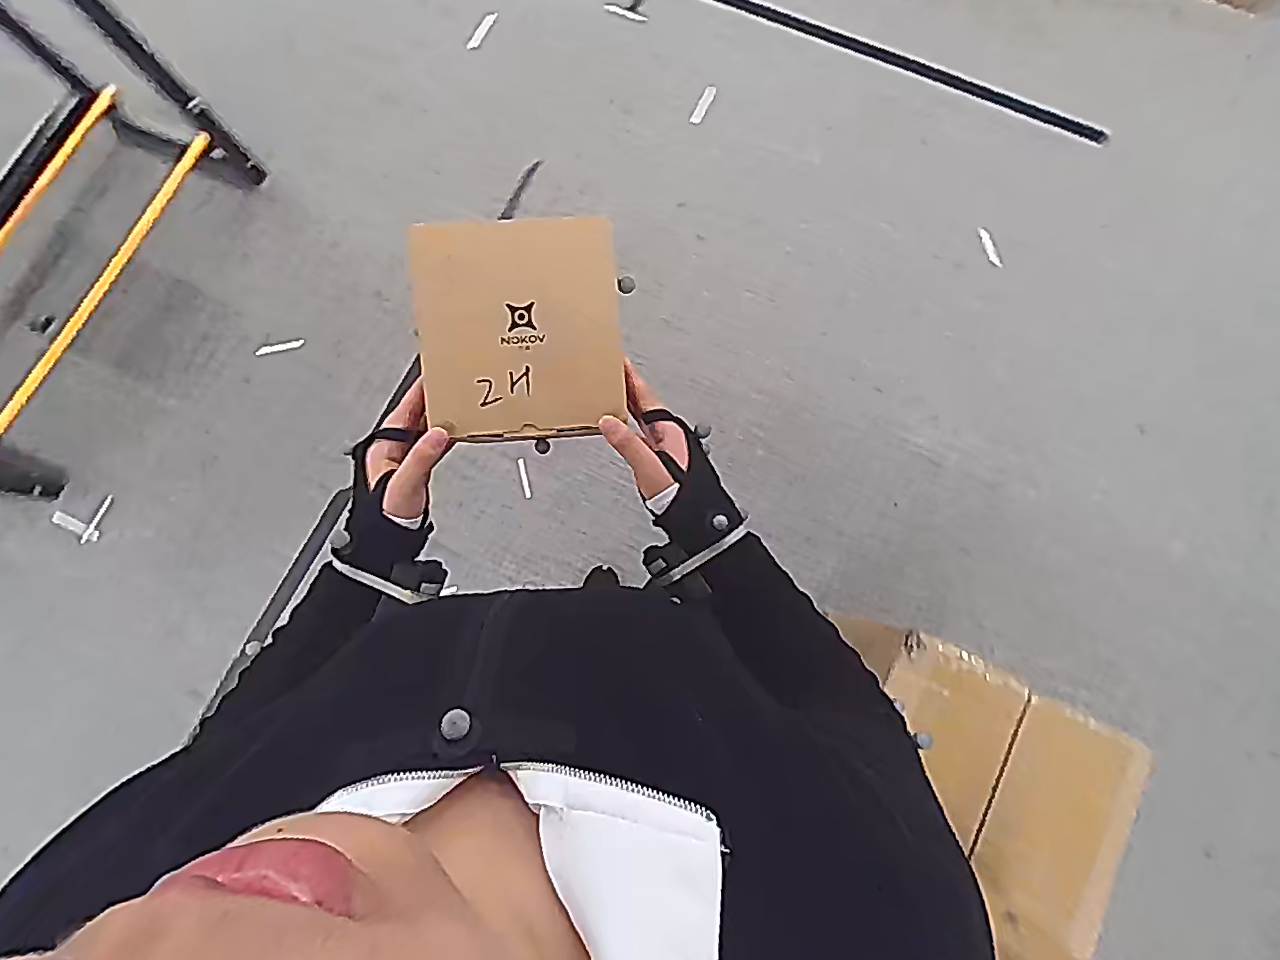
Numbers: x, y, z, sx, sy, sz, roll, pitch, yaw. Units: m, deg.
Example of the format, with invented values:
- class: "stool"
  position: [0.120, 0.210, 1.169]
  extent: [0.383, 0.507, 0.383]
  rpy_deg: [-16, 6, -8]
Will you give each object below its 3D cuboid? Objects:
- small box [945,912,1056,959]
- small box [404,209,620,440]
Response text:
- class: "small box"
  position: [0.419, 0.604, 0.551]
  extent: [0.168, 0.176, 0.179]
  rpy_deg: [26, 80, 6]
- class: "small box"
  position: [-0.111, -0.135, 0.525]
  extent: [0.168, 0.176, 0.179]
  rpy_deg: [-5, 93, -4]
